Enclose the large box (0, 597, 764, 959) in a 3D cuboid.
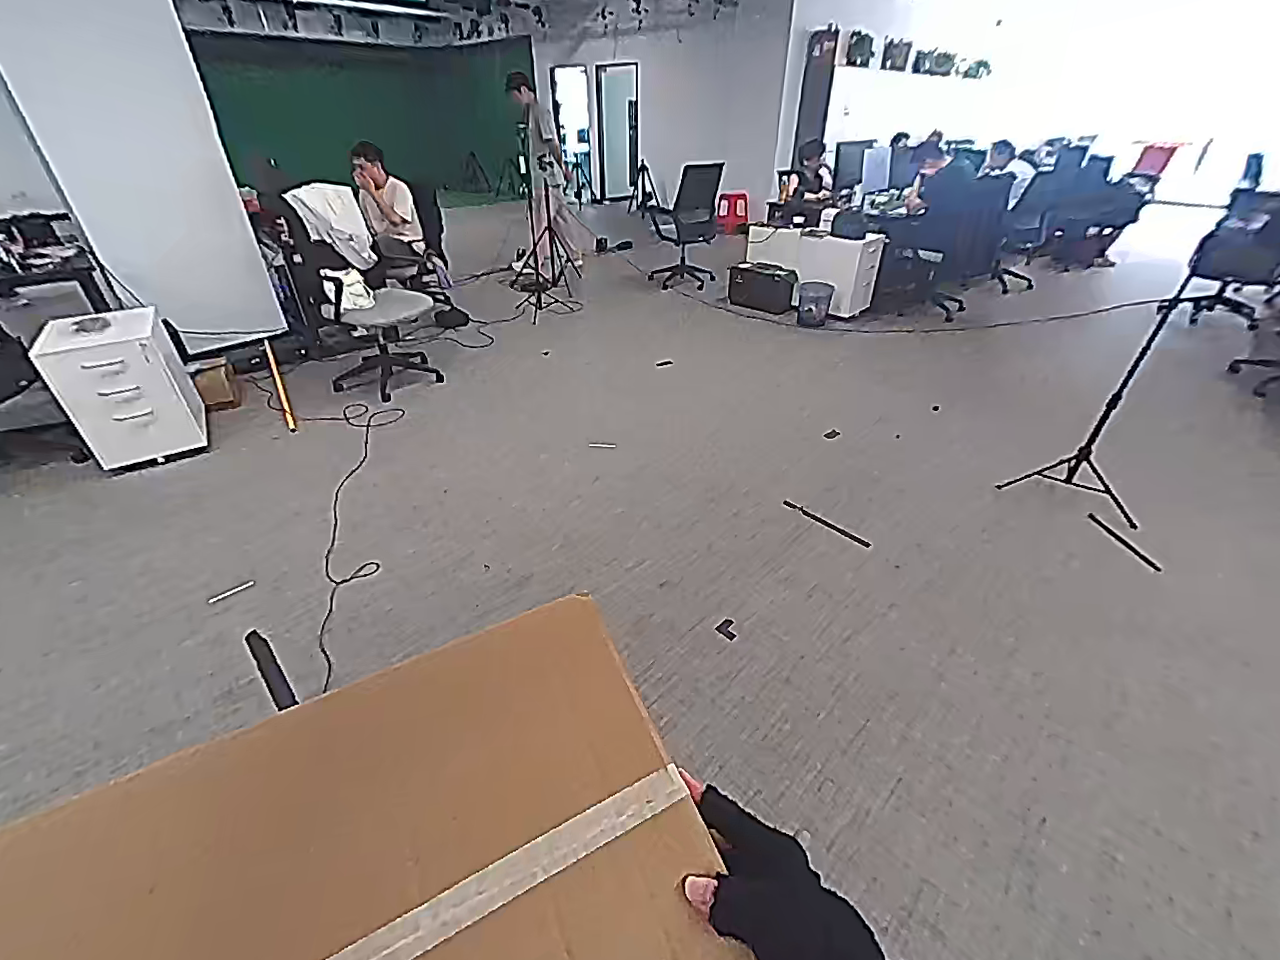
[{"bbox_3d":[-0.165,0.361,0.418,0.408,0.320,0.320,-19,57,-20],"label":"large box"}]
